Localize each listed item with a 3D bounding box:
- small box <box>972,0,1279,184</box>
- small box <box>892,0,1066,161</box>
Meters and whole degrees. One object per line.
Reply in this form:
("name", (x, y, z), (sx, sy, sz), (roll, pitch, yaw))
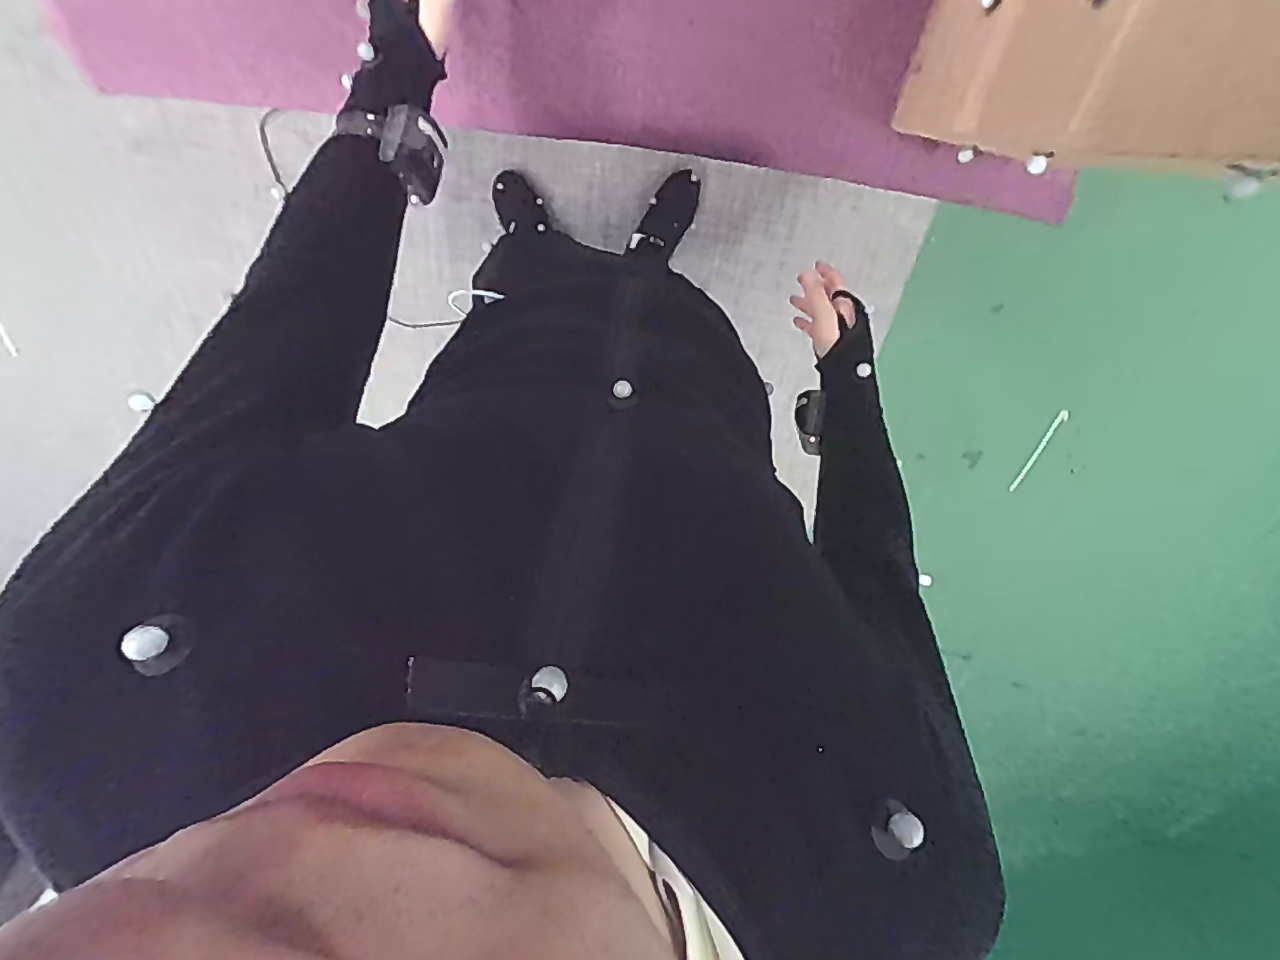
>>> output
("small box", (0.404, -0.352, 0.420), (0.168, 0.176, 0.179), (10, 124, -5))
("small box", (0.402, -0.442, 0.557), (0.179, 0.176, 0.168), (9, 123, -6))
